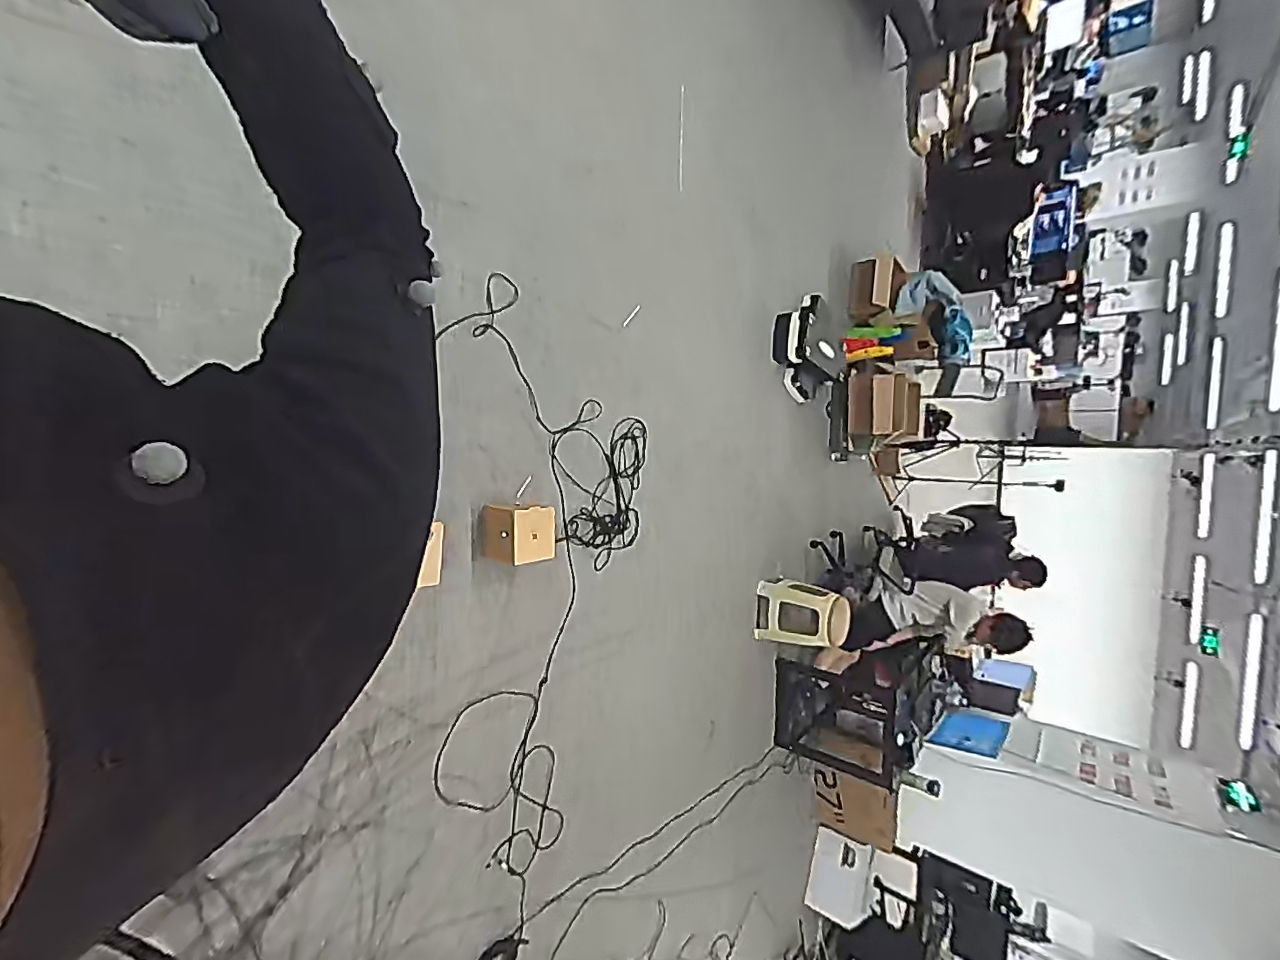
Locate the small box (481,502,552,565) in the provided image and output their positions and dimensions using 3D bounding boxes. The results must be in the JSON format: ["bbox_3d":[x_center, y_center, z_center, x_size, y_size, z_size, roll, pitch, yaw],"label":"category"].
[{"bbox_3d":[-0.409,0.171,1.776,0.168,0.176,0.179,-4,96,-50],"label":"small box"}]
